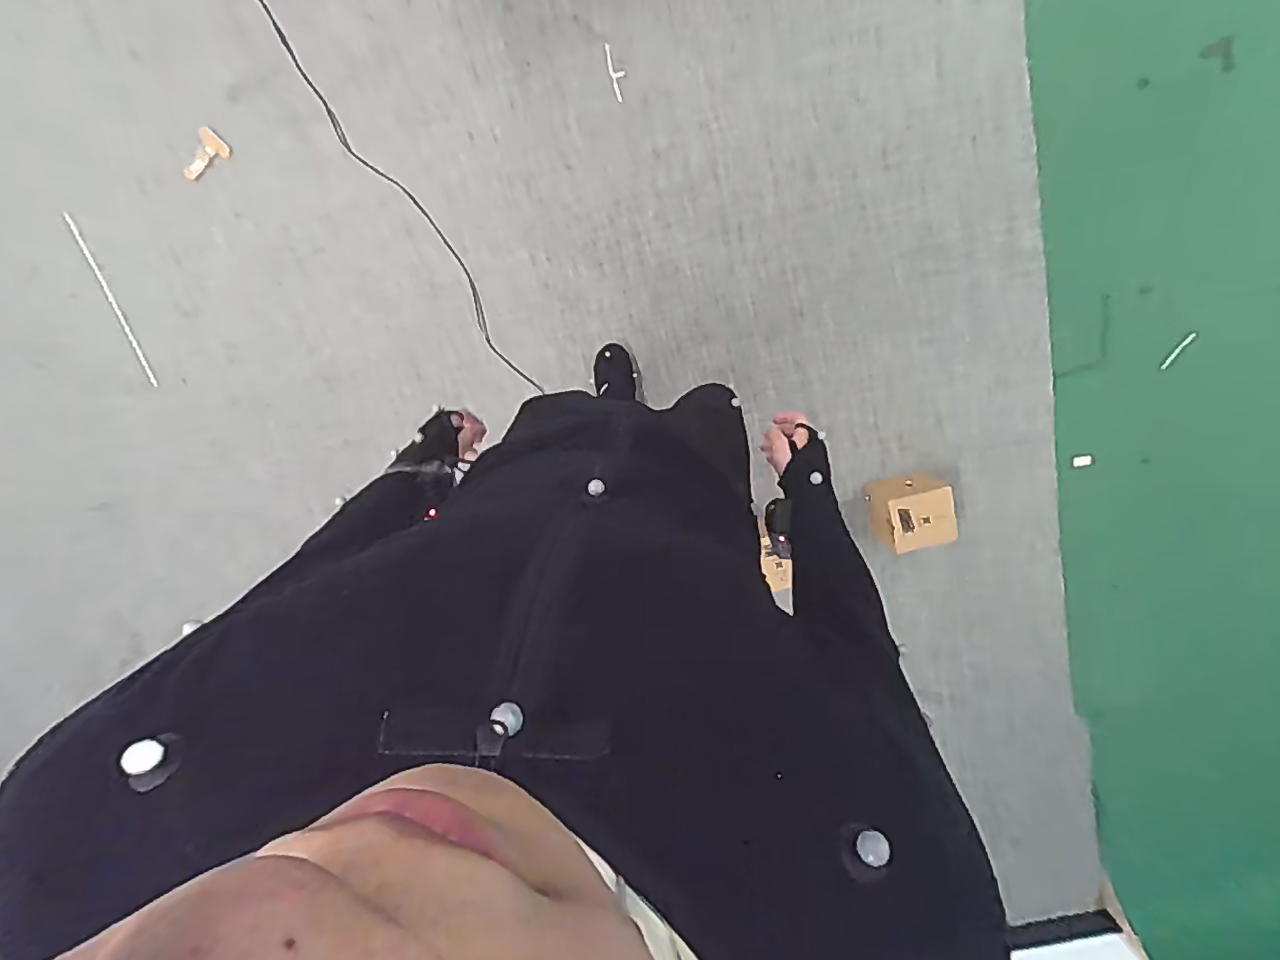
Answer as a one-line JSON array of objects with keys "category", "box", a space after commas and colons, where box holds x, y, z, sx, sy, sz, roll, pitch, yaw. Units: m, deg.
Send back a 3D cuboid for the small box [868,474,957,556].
[{"category": "small box", "box": [0.775, 0.096, 1.556, 0.179, 0.176, 0.168, -15, 105, 4]}]
